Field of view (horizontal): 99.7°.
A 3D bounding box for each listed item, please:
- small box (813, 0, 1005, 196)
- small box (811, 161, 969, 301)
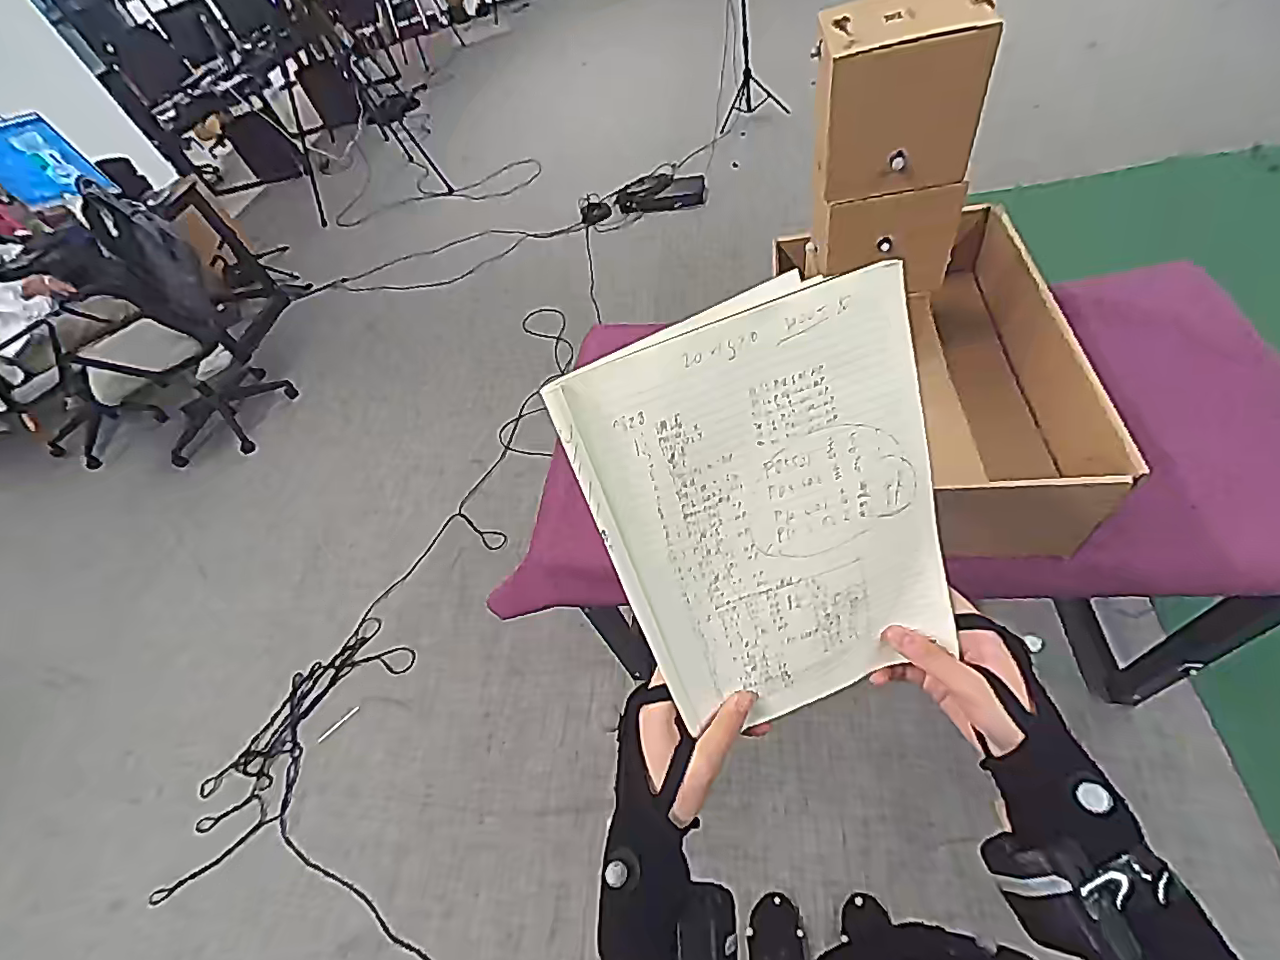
[{"bbox_3d":[0.325,-0.497,0.697,0.179,0.176,0.168,-2,54,12],"label":"small box"},{"bbox_3d":[0.362,-0.399,0.823,0.179,0.176,0.168,-5,53,12],"label":"small box"}]
